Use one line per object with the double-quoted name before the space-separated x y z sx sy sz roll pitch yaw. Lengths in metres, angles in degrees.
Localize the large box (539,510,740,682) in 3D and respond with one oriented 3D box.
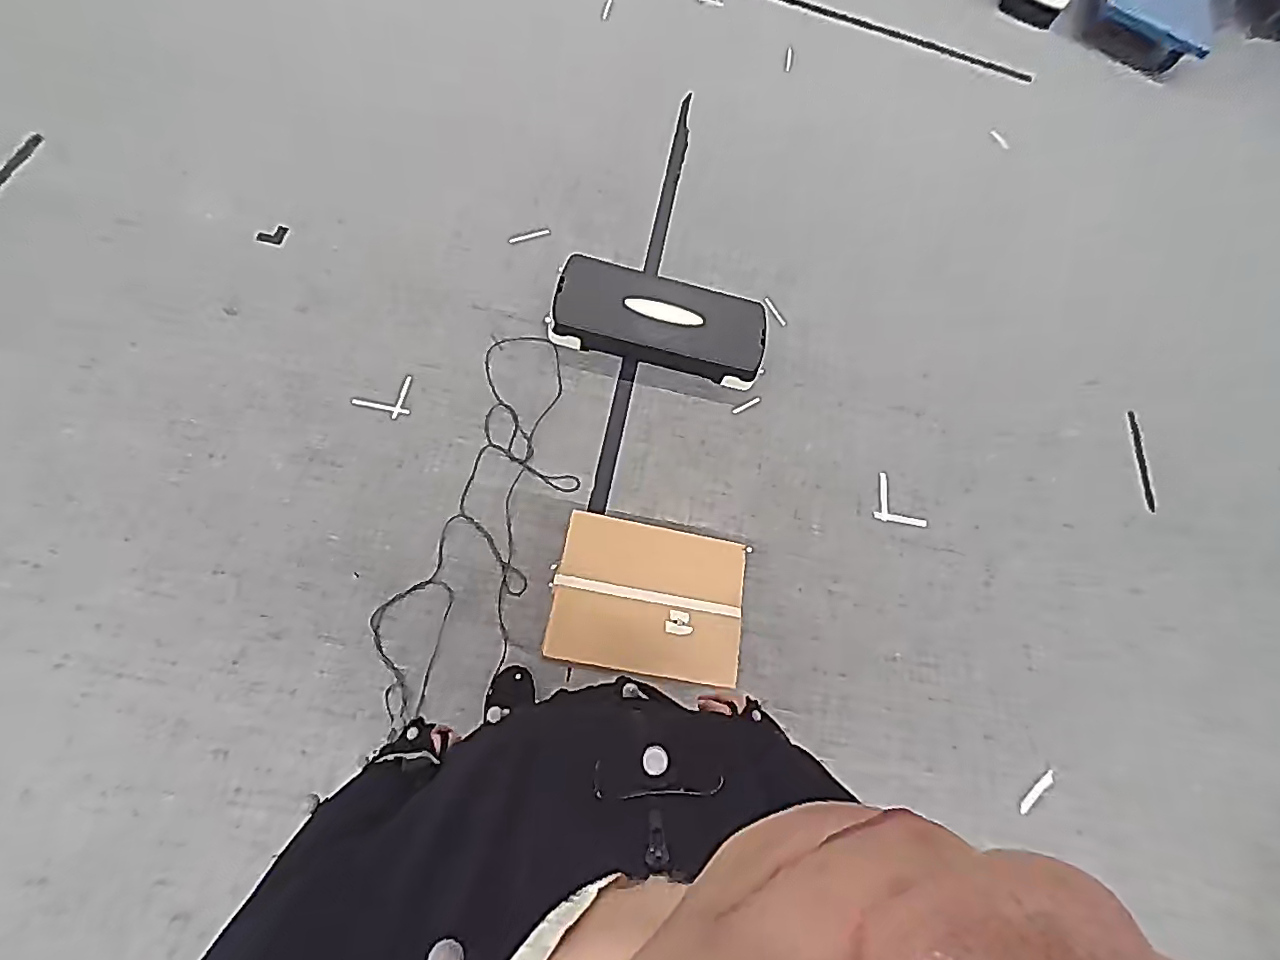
"large box" -0.012 0.293 1.293 0.408 0.320 0.320 12 69 -7
